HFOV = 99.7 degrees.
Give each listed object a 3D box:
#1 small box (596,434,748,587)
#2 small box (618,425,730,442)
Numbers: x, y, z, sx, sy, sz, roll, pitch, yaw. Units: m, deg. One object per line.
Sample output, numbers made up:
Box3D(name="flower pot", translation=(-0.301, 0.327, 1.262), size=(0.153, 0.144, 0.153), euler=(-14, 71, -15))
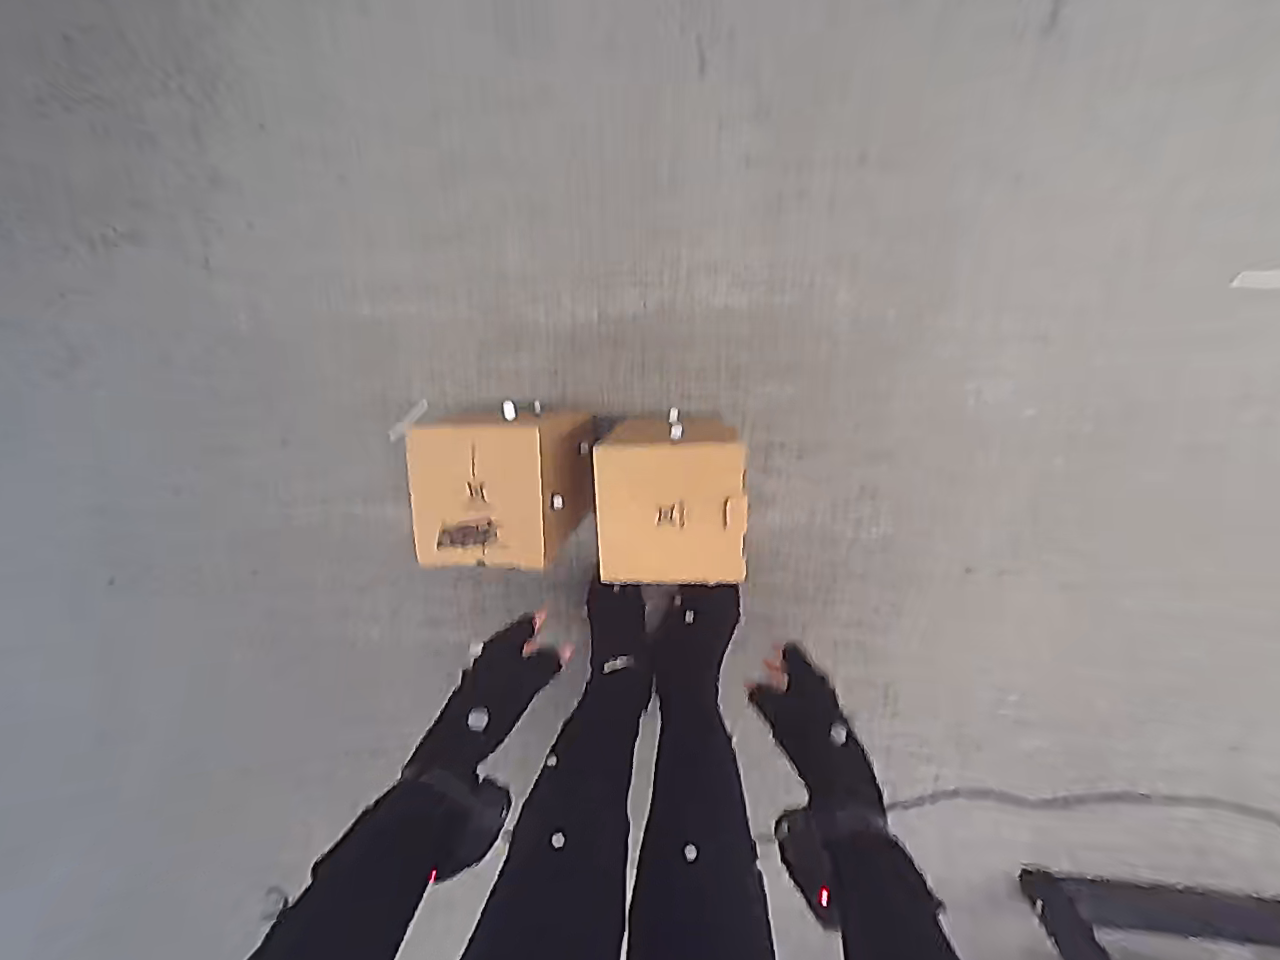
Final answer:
Box3D(name="small box", translation=(0.046, 0.031, 0.707), size=(0.179, 0.176, 0.168), euler=(-2, 102, 6))
Box3D(name="small box", translation=(0.057, 0.003, 0.868), size=(0.168, 0.176, 0.179), euler=(-1, 102, 7))
